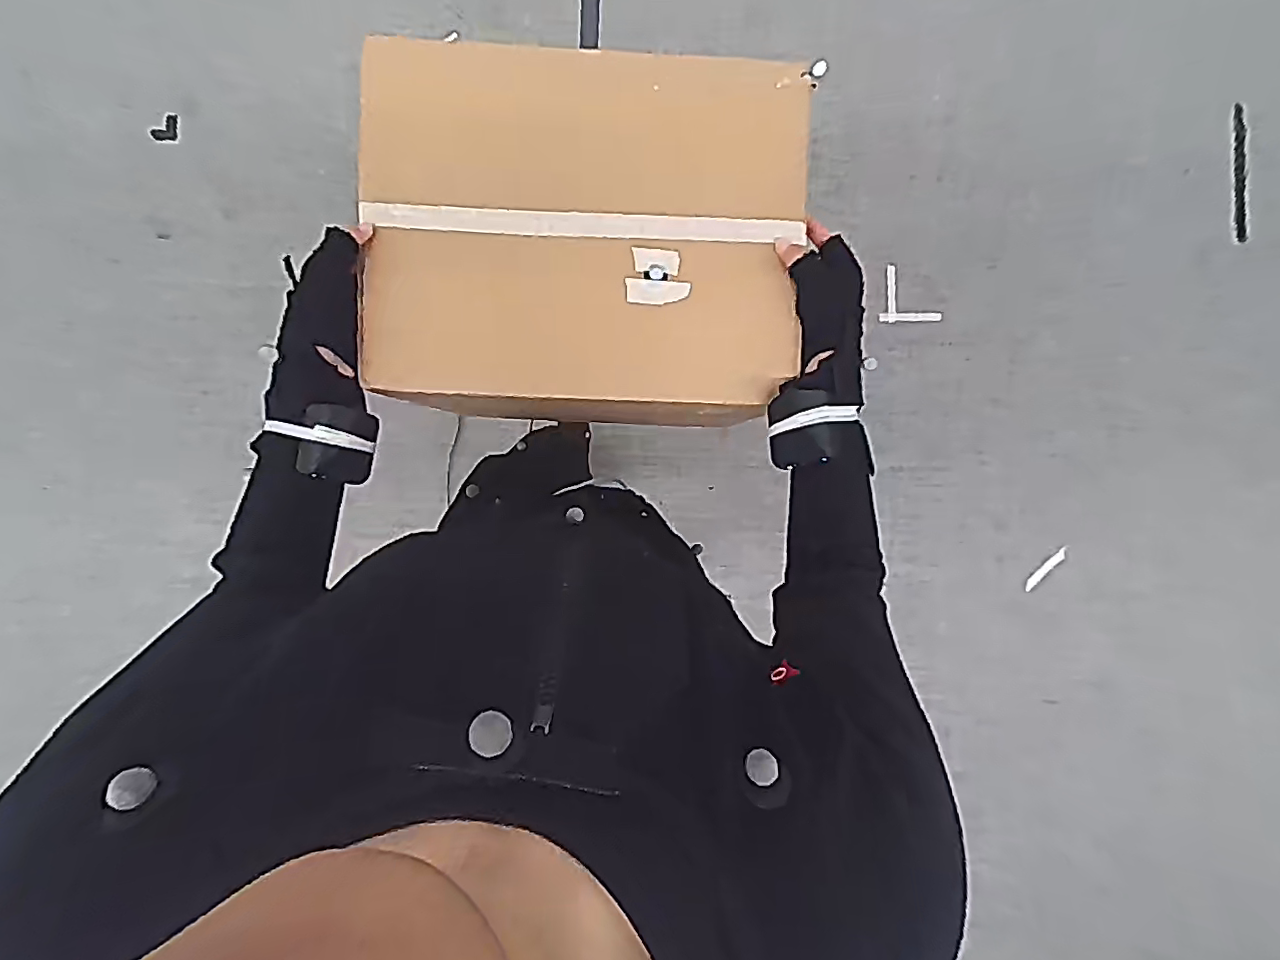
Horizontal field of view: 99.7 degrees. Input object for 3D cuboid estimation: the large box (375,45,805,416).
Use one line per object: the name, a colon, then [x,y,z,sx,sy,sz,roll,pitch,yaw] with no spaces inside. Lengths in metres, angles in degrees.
large box: [-0.054,-0.247,0.656,0.408,0.320,0.320,2,93,-3]
